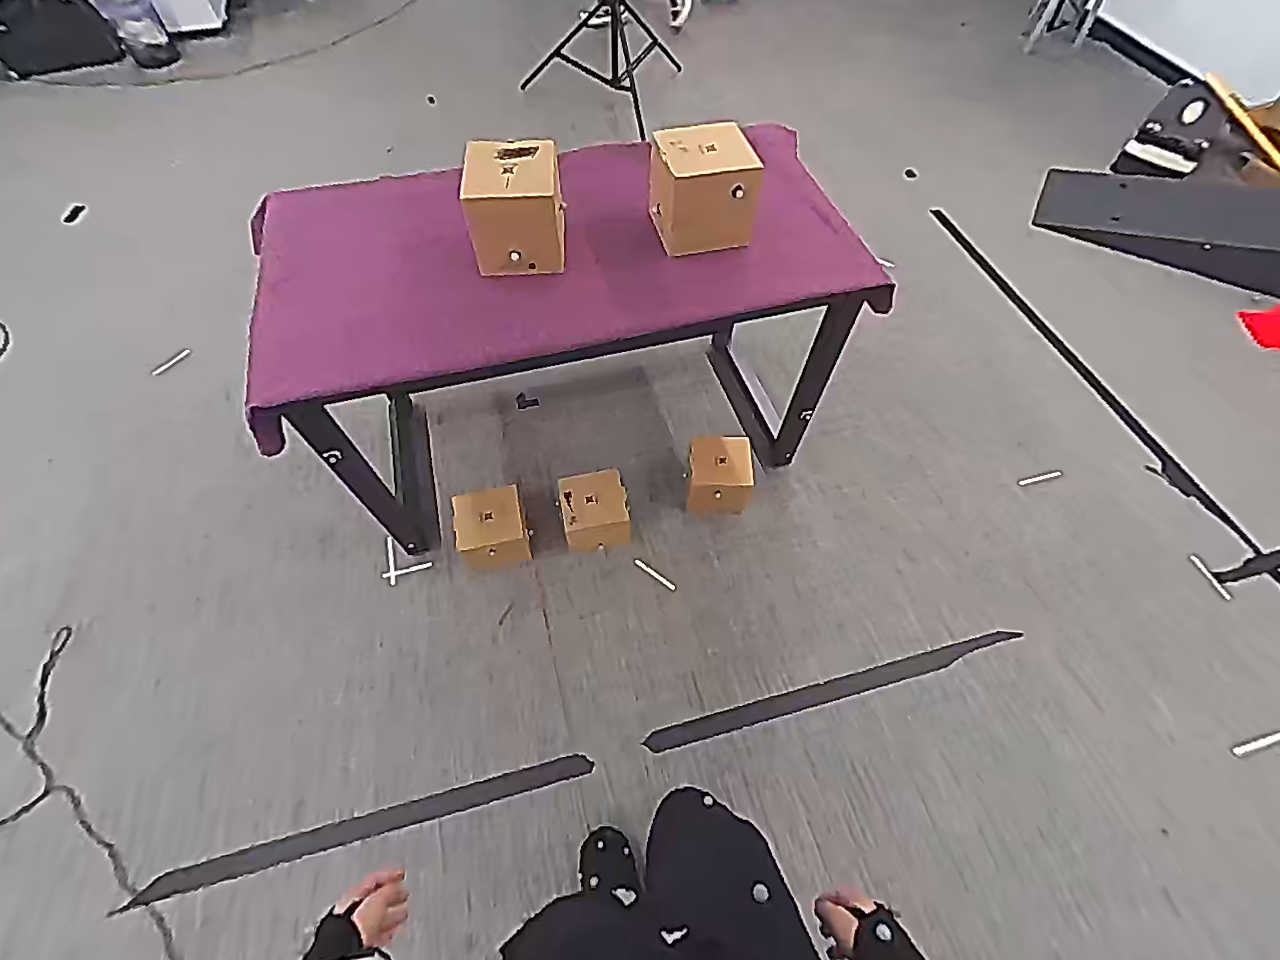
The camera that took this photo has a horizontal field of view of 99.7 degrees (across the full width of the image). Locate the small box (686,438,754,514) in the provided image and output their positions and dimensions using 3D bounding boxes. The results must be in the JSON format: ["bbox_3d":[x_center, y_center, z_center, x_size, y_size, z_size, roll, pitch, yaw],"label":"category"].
[{"bbox_3d":[0.231,-0.009,1.605,0.179,0.176,0.168,1,60,1],"label":"small box"}]

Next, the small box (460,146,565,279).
[{"bbox_3d":[-0.238,-0.517,1.052,0.168,0.176,0.179,-3,60,-2],"label":"small box"}]

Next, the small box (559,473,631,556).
[{"bbox_3d":[-0.127,0.100,1.536,0.179,0.176,0.168,-10,60,-7],"label":"small box"}]

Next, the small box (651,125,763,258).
[{"bbox_3d":[0.125,-0.577,1.090,0.179,0.176,0.168,-12,60,-7],"label":"small box"}]
